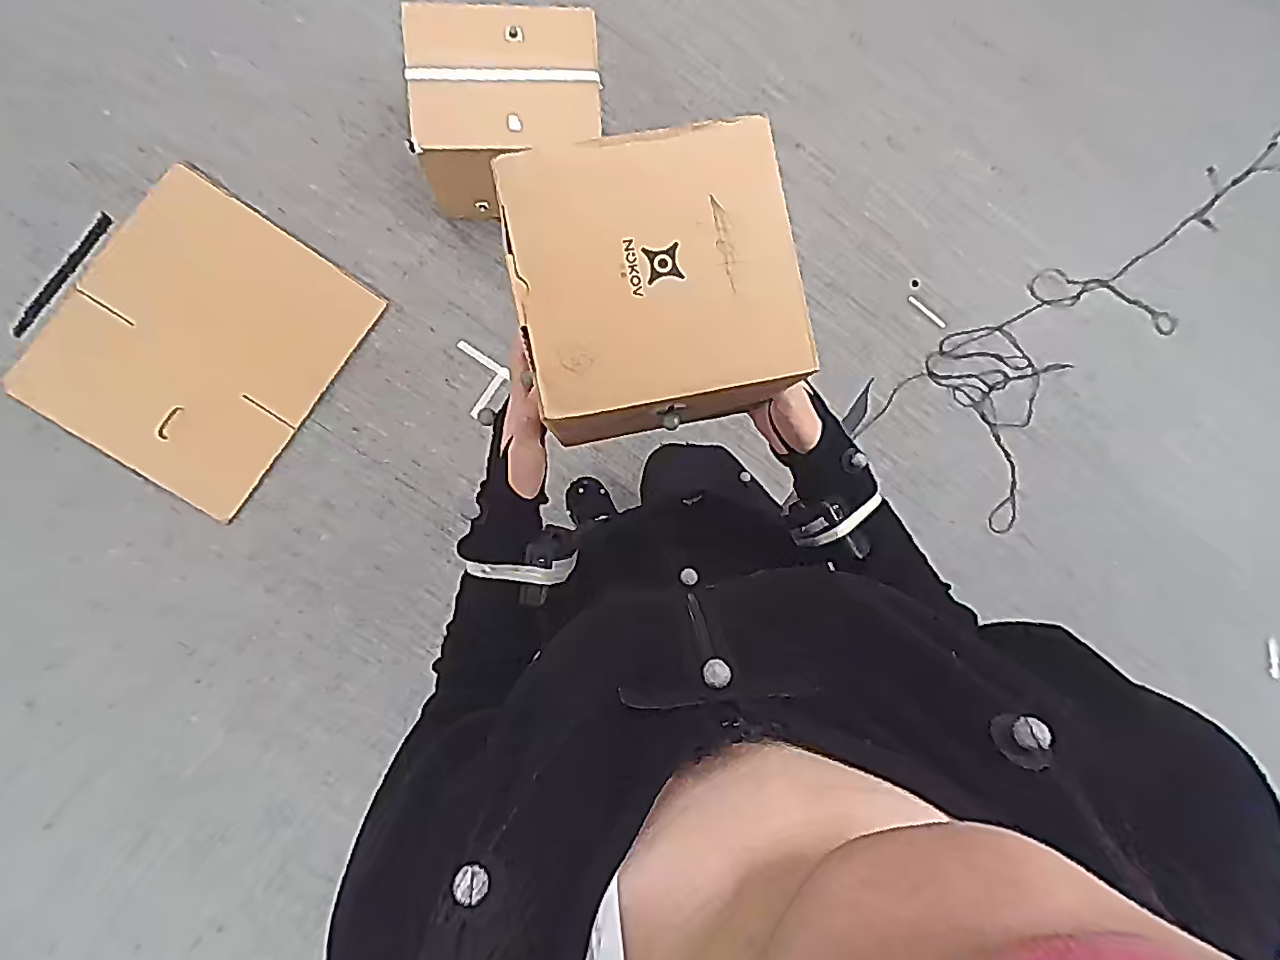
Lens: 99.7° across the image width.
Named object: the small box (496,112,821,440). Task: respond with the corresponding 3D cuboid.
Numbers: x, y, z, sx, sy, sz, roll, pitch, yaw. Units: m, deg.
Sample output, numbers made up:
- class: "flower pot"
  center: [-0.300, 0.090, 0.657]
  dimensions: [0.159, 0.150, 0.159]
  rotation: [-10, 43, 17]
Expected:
- class: "small box"
  center: [0.008, -0.130, 0.409]
  dimensions: [0.179, 0.176, 0.168]
  rotation: [-12, 90, -4]
